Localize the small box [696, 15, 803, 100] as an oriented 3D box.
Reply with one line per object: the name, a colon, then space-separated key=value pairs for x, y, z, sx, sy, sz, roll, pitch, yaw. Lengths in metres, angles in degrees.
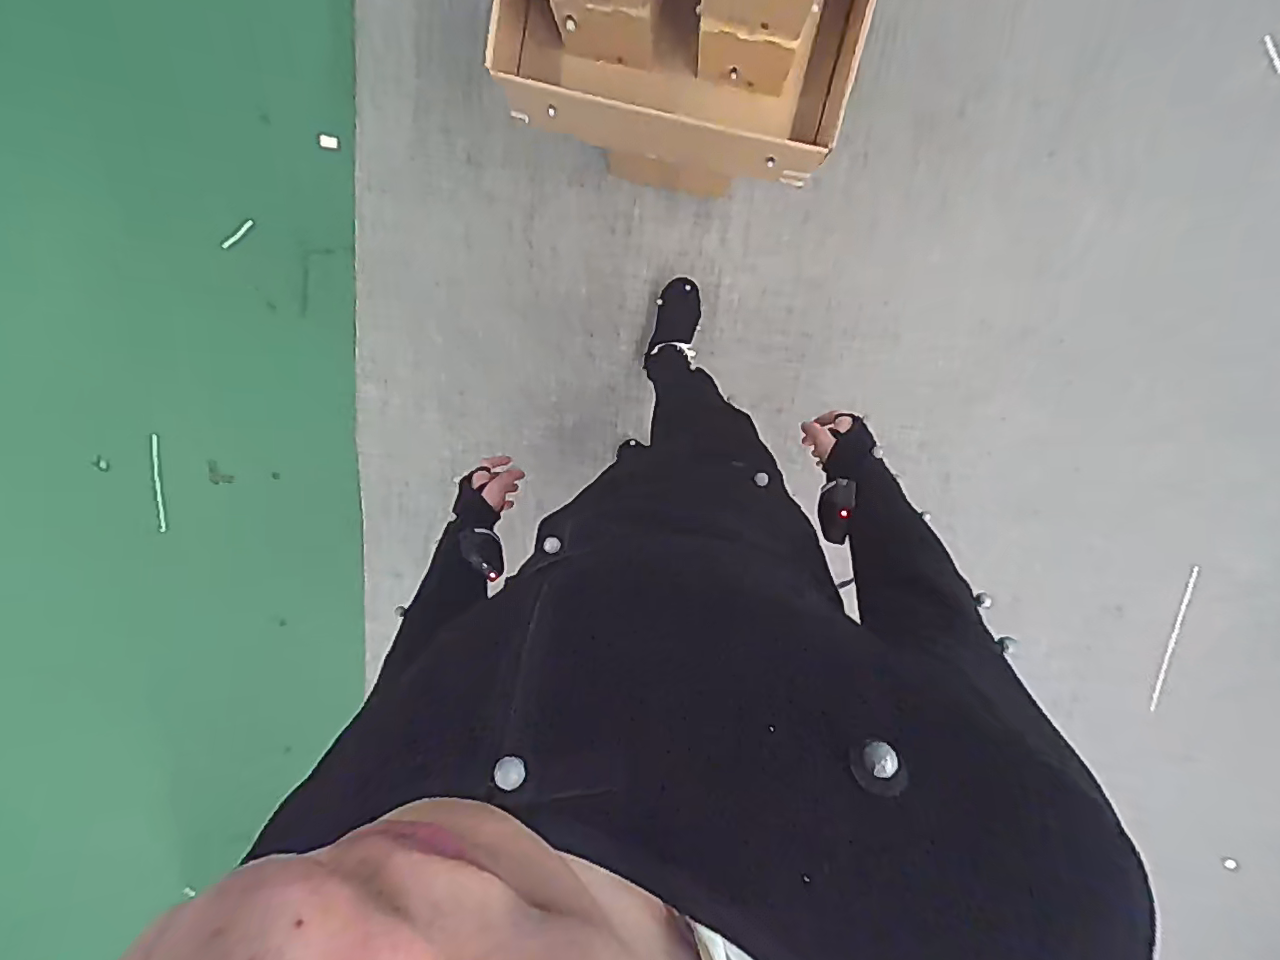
small box: x=0.194 y=-0.798 z=0.925 sx=0.168 sy=0.176 sz=0.179 roll=12 pitch=105 yaw=0

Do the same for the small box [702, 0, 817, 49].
small box: x=0.188 y=-0.769 z=0.764 sx=0.168 sy=0.176 sz=0.179 roll=14 pitch=104 yaw=0

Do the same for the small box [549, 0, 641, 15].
small box: x=-0.070 y=-0.816 z=0.760 sx=0.168 sy=0.176 sz=0.179 roll=9 pitch=103 yaw=1
